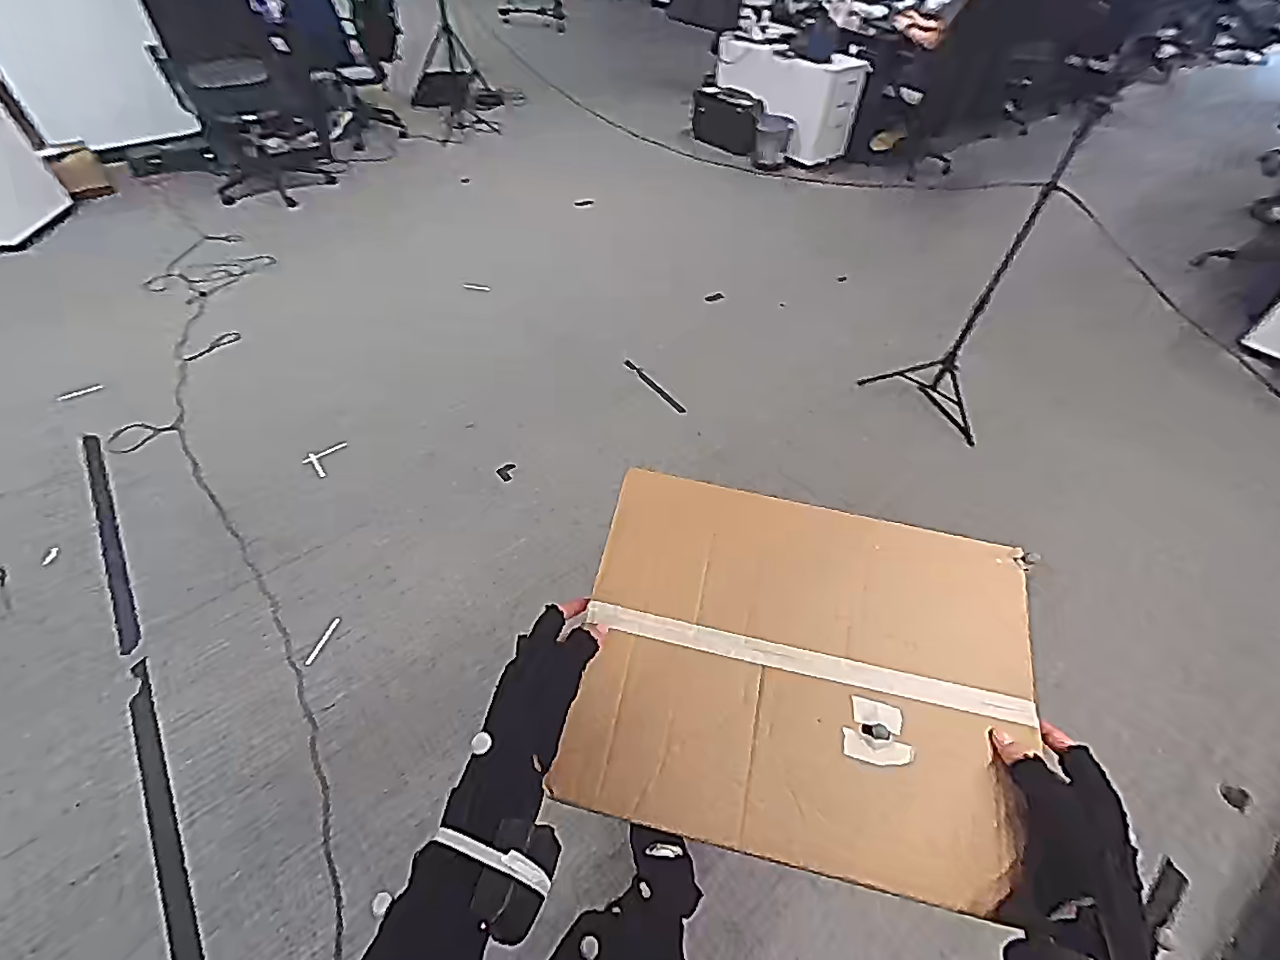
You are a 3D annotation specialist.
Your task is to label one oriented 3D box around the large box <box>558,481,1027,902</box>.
[{"bbox_3d":[0.148,0.234,0.648,0.408,0.320,0.320,12,66,5],"label":"large box"}]
